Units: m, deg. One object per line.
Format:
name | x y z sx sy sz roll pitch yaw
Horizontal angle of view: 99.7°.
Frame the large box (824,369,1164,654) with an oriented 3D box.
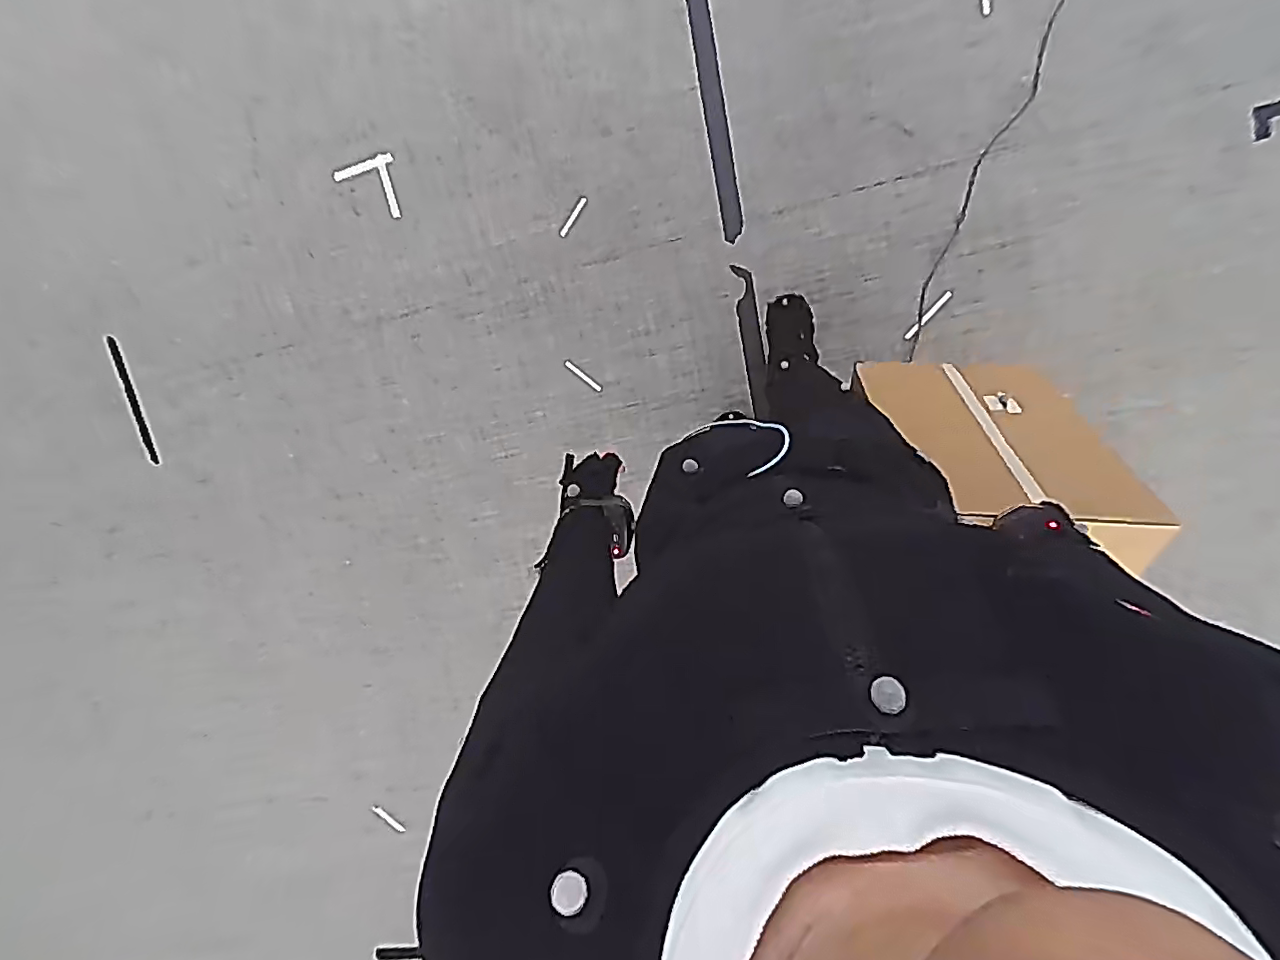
large box | 0.530 0.041 0.934 0.320 0.408 0.320 3 128 5
